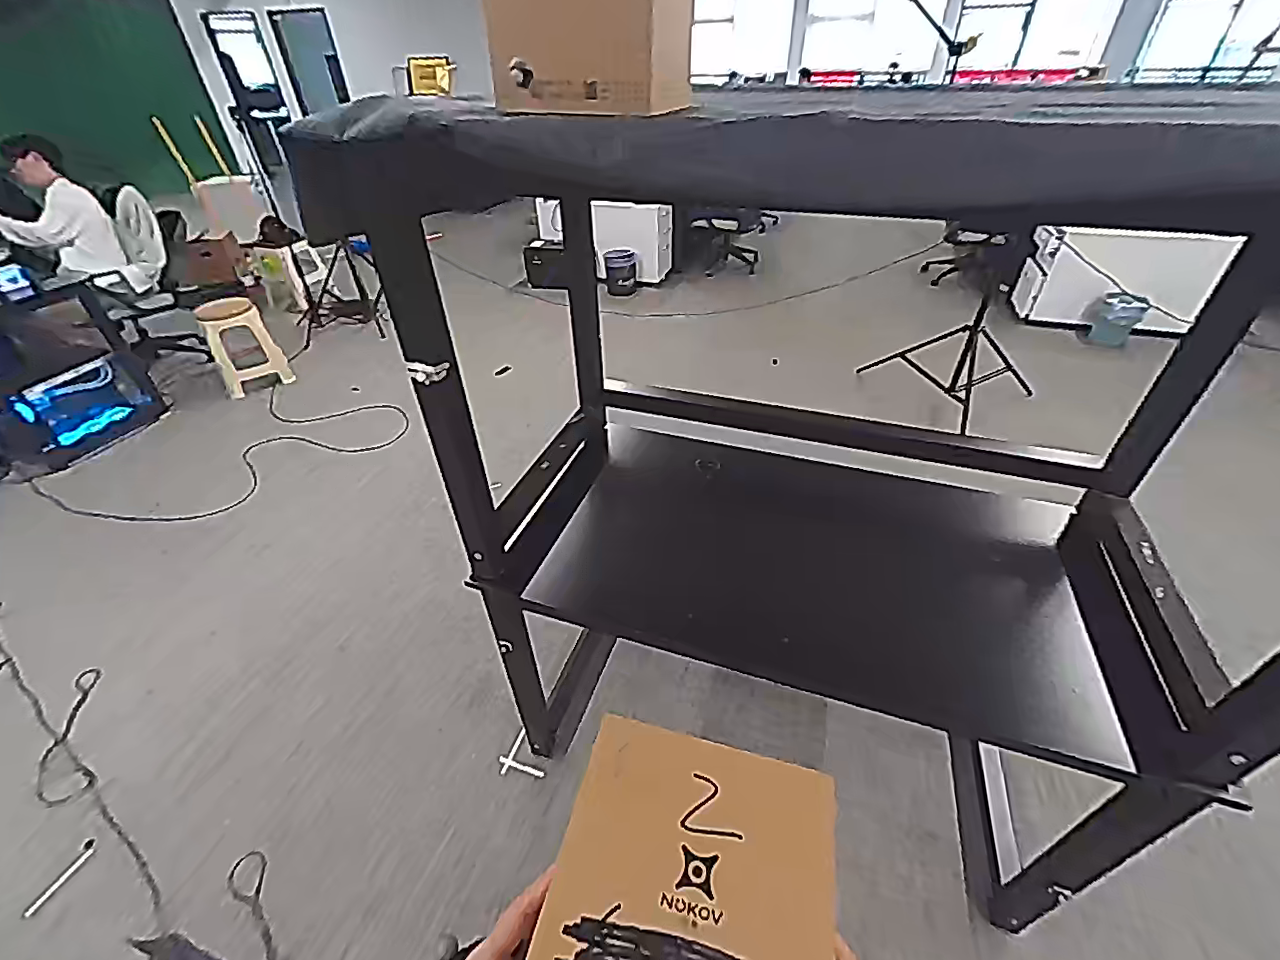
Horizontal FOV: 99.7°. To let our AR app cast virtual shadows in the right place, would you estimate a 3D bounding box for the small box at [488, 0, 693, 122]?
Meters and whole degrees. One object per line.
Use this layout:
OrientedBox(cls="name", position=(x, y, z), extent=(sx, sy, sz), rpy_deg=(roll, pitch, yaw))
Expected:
OrientedBox(cls="small box", position=(-0.041, -0.468, 0.547), extent=(0.168, 0.176, 0.179), rpy_deg=(11, 38, 13))
